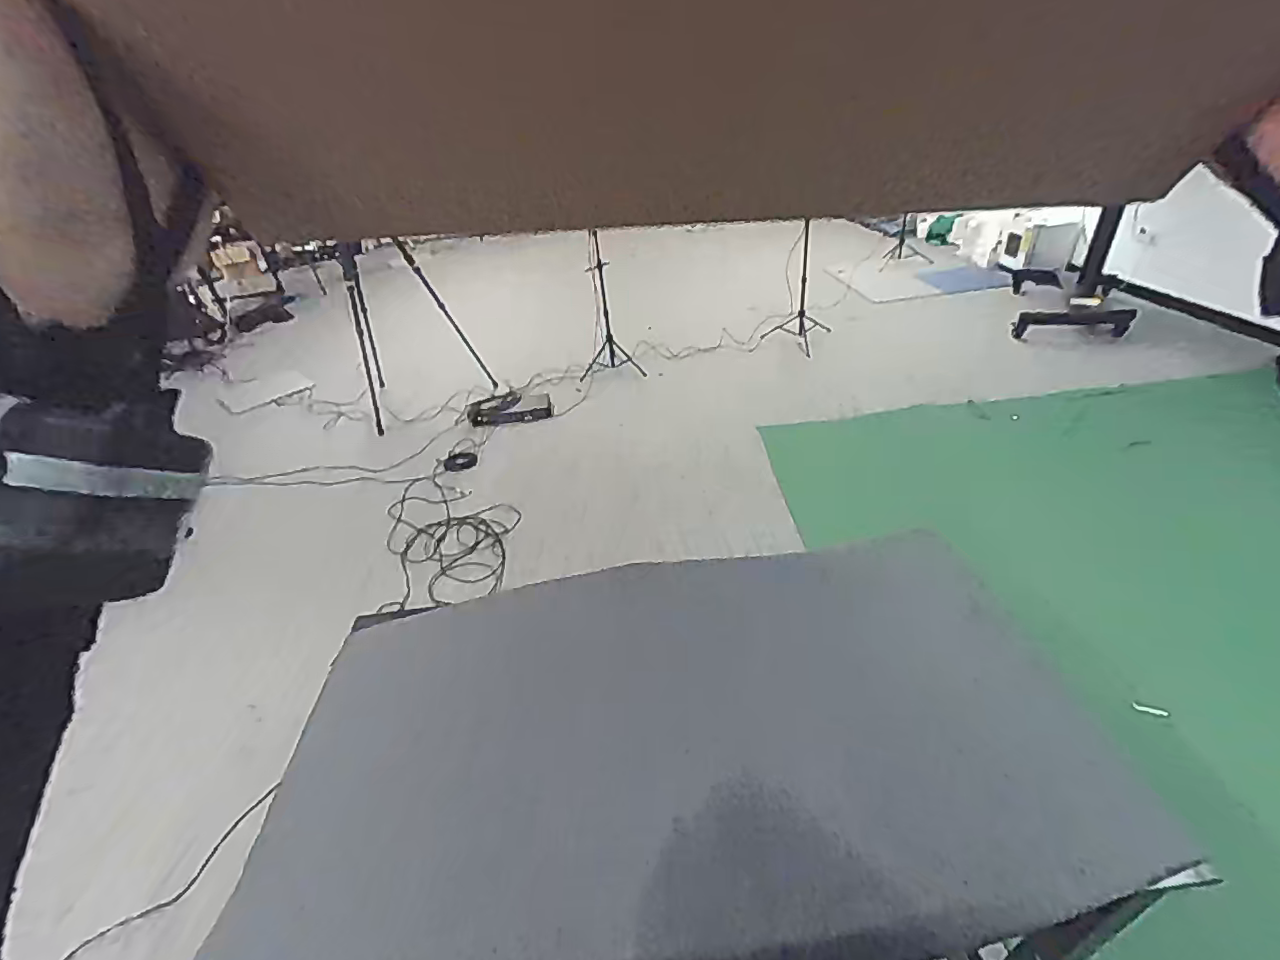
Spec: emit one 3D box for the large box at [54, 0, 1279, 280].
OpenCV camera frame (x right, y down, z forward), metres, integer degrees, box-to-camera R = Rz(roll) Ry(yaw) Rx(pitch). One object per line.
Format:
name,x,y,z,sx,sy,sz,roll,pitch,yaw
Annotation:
large box,0.023,-0.298,0.169,0.408,0.320,0.320,-5,71,-4
